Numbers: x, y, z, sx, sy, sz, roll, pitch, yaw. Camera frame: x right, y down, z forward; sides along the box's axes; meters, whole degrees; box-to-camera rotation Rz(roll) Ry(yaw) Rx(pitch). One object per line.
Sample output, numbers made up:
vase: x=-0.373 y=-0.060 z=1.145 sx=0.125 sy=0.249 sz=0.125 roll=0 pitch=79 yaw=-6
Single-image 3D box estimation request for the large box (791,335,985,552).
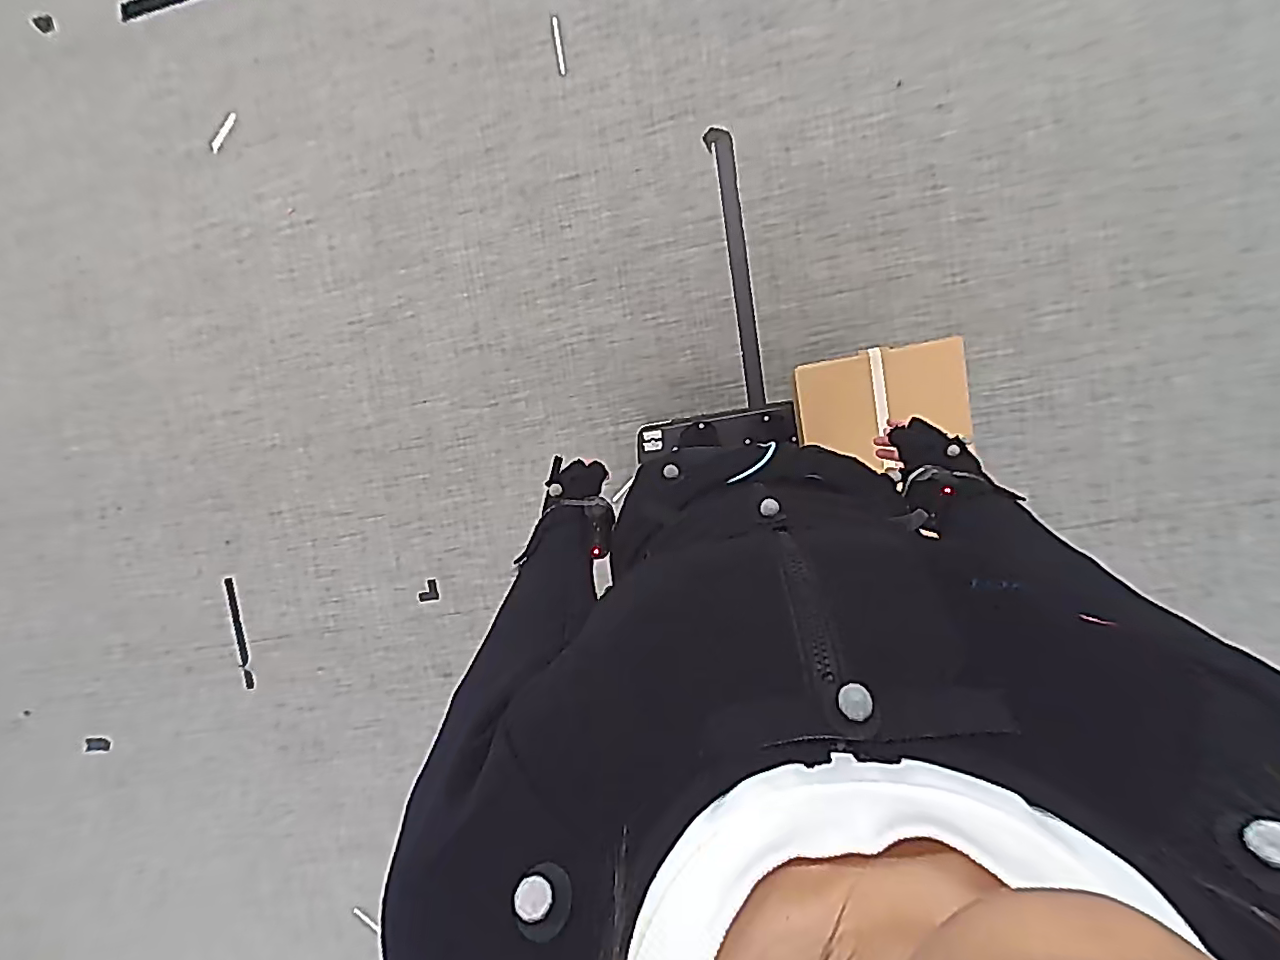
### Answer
large box: x=0.536 y=-0.086 z=1.230 sx=0.320 sy=0.320 sz=0.408 roll=-8 pitch=97 yaw=16
